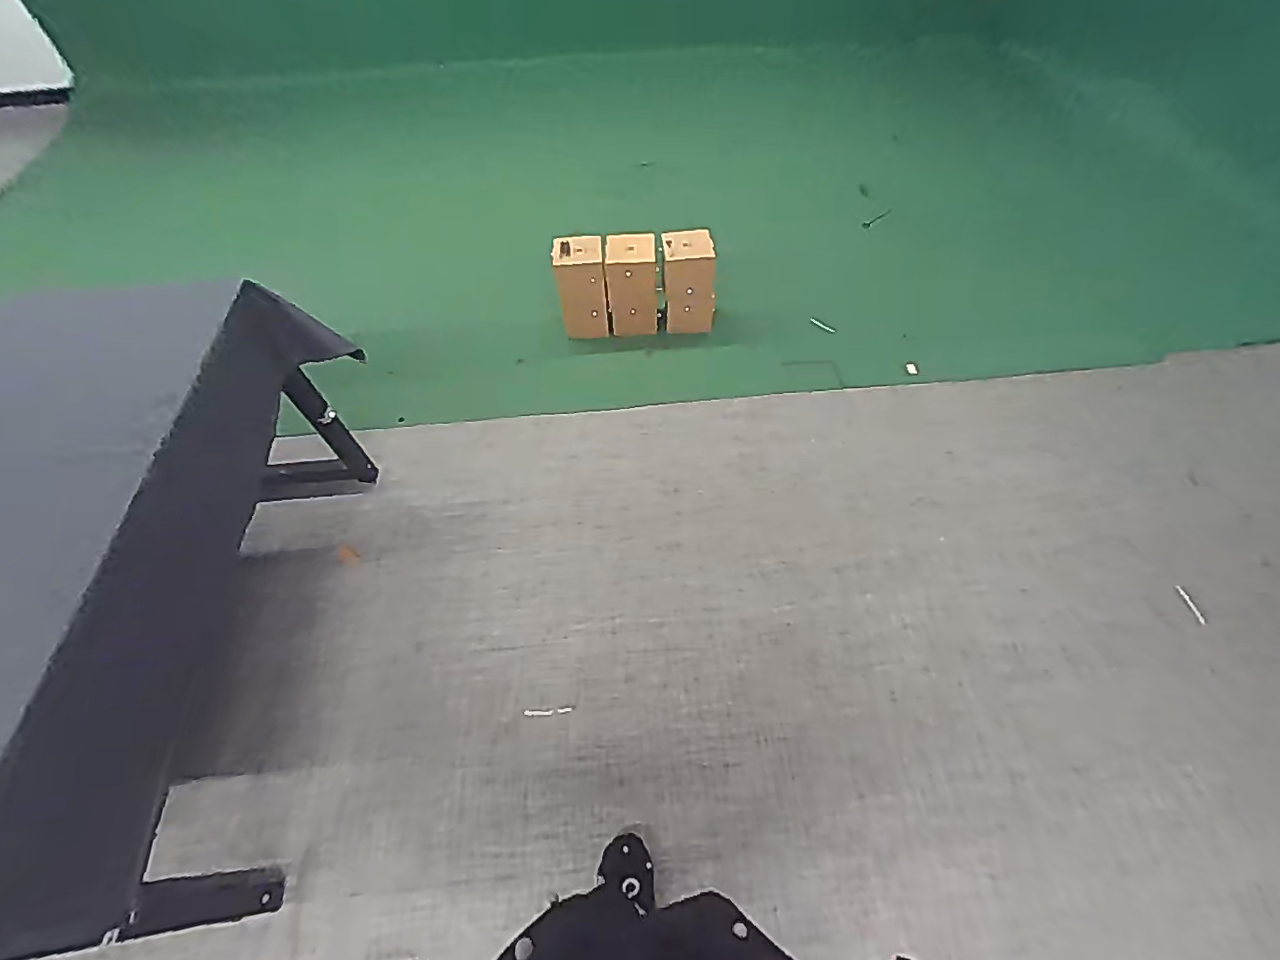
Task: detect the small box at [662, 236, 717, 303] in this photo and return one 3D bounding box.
[{"bbox_3d":[0.176,-0.769,1.986,0.179,0.176,0.168,-4,56,-2],"label":"small box"}]
